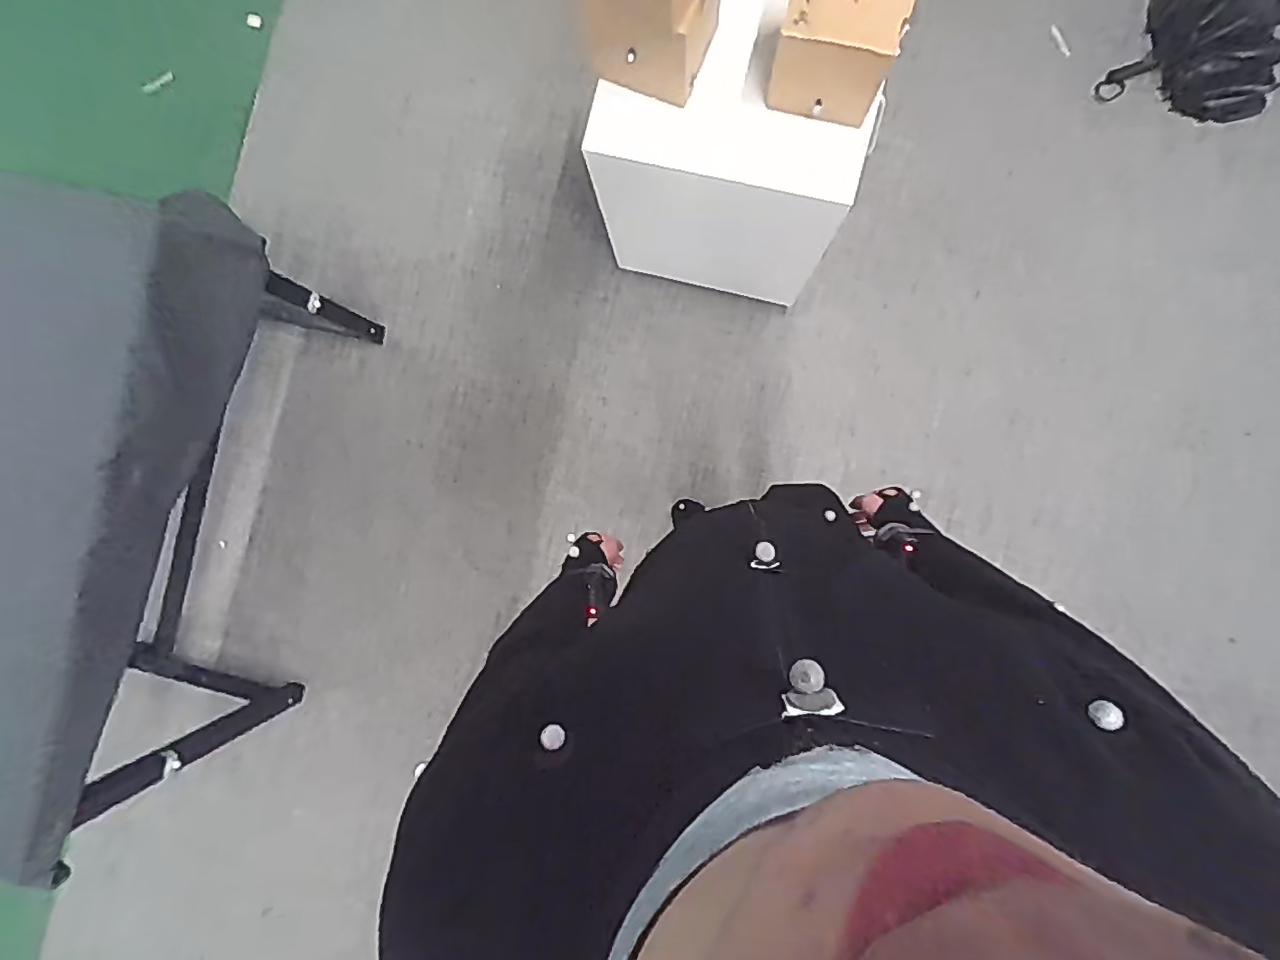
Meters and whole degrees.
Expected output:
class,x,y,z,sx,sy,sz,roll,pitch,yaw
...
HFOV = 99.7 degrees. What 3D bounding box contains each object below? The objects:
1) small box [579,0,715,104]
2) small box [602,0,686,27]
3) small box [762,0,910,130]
class,x,y,z,sx,sy,sz,roll,pitch,yaw
small box,0.020,-0.775,0.899,0.179,0.176,0.168,23,90,3
small box,0.008,-0.781,0.738,0.179,0.176,0.168,29,89,4
small box,0.315,-0.714,0.882,0.179,0.176,0.168,16,90,3
